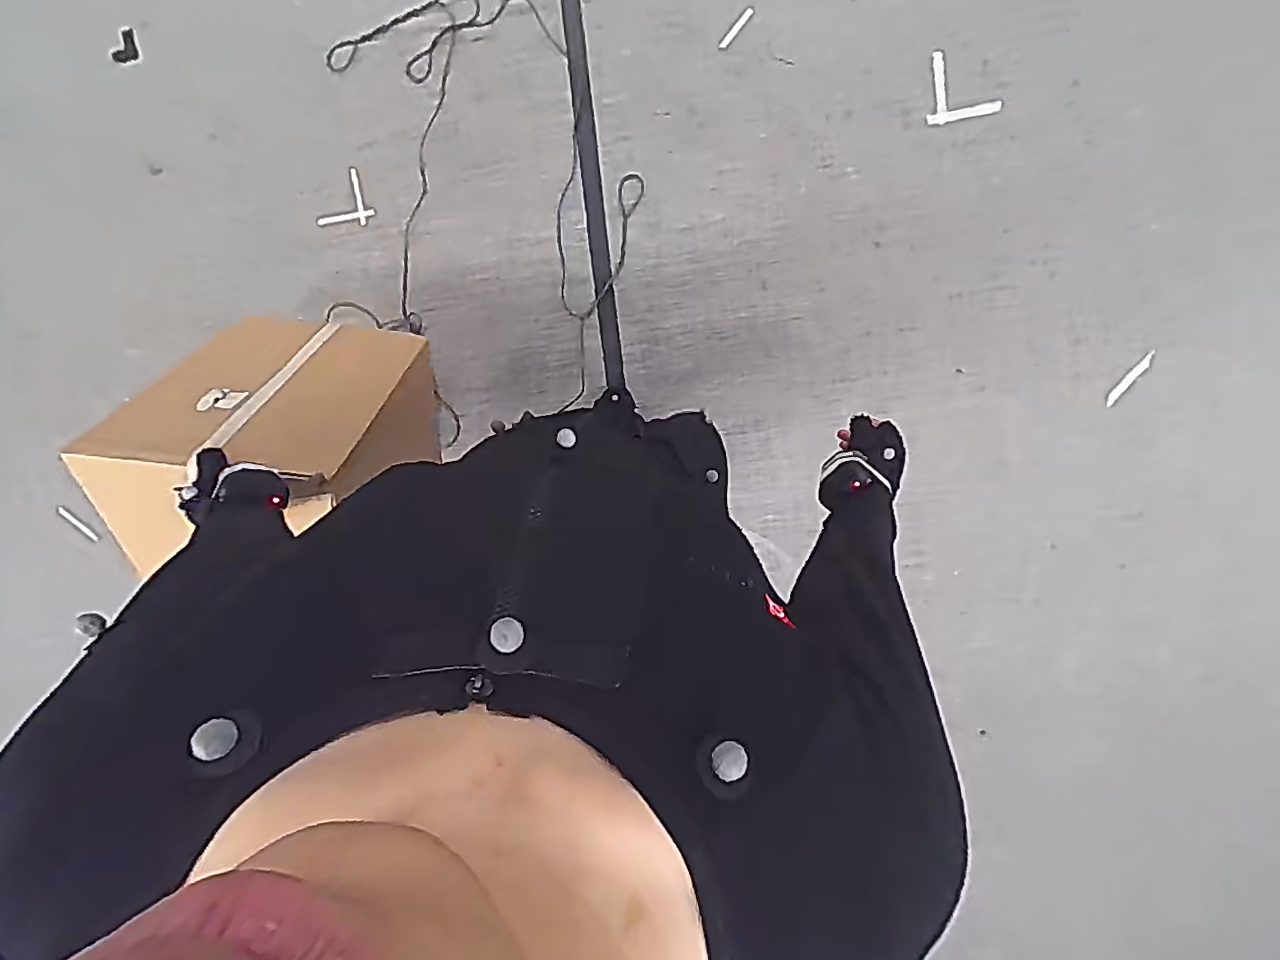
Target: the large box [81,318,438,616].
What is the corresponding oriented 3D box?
[{"bbox_3d":[-0.562,-0.031,0.922,0.320,0.408,0.320,5,131,-4],"label":"large box"}]
